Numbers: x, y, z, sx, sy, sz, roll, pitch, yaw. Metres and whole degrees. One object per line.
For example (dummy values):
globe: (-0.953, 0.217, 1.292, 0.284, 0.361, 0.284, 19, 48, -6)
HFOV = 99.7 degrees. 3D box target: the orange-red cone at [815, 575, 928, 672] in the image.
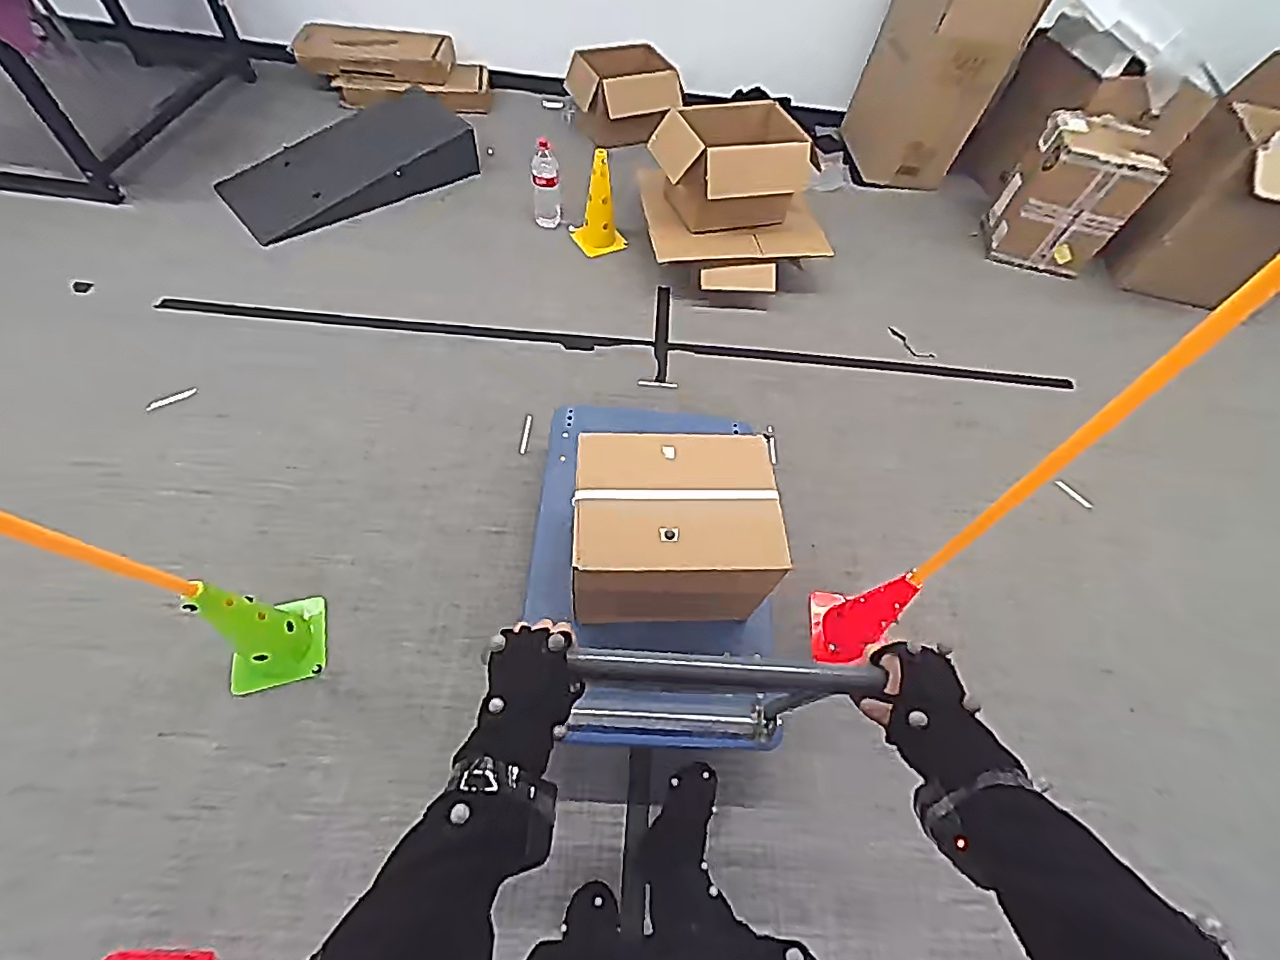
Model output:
orange-red cone: (0.585, 0.312, 1.307, 0.199, 0.360, 0.198, 11, 57, 0)
